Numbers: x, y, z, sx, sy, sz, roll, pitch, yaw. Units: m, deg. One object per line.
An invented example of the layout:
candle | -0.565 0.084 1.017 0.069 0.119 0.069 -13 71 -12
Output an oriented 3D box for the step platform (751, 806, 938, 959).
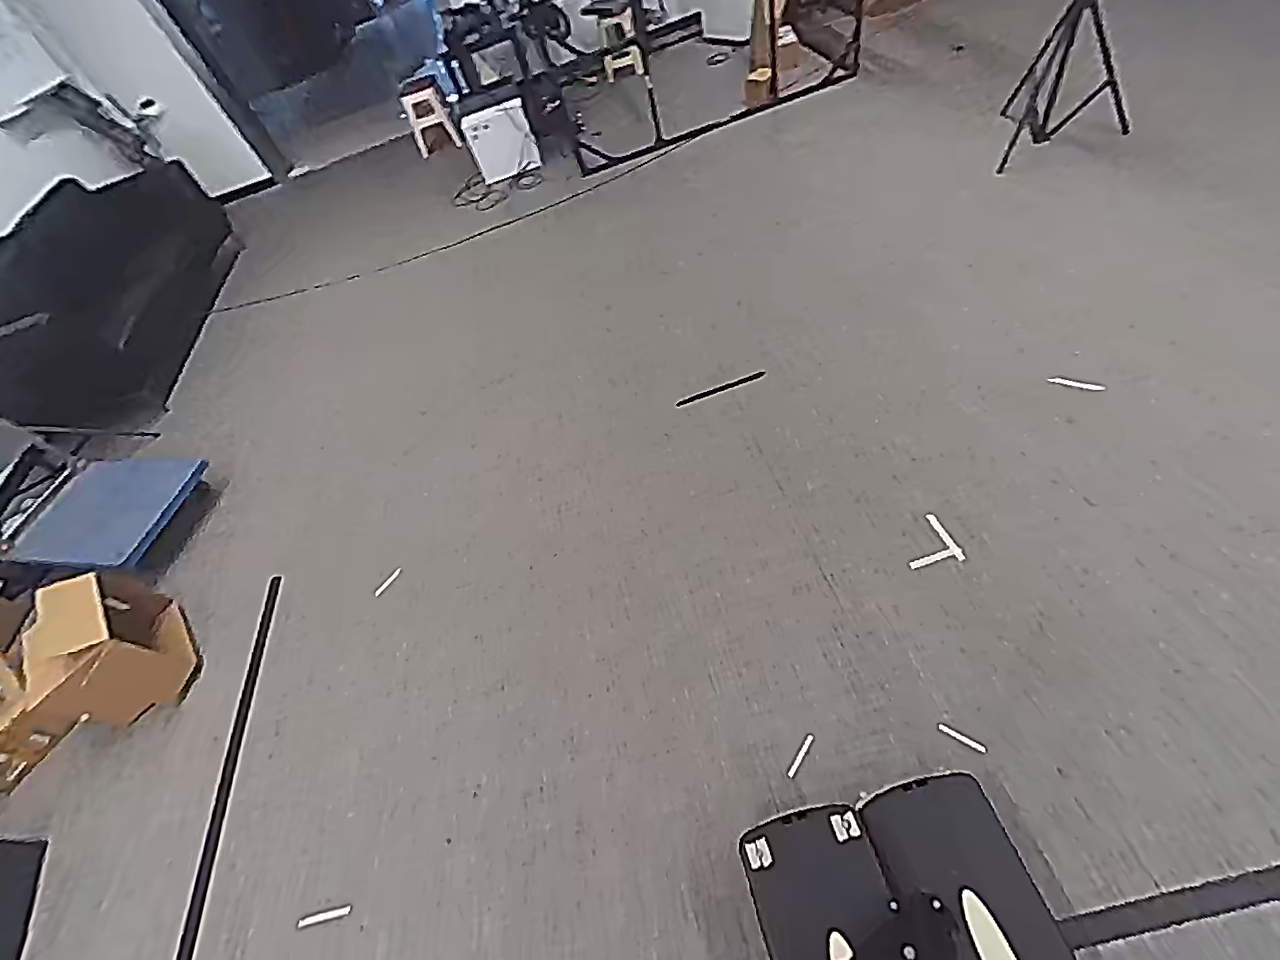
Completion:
step platform | 0.462 1.038 1.051 0.286 0.204 0.684 -19 50 2
